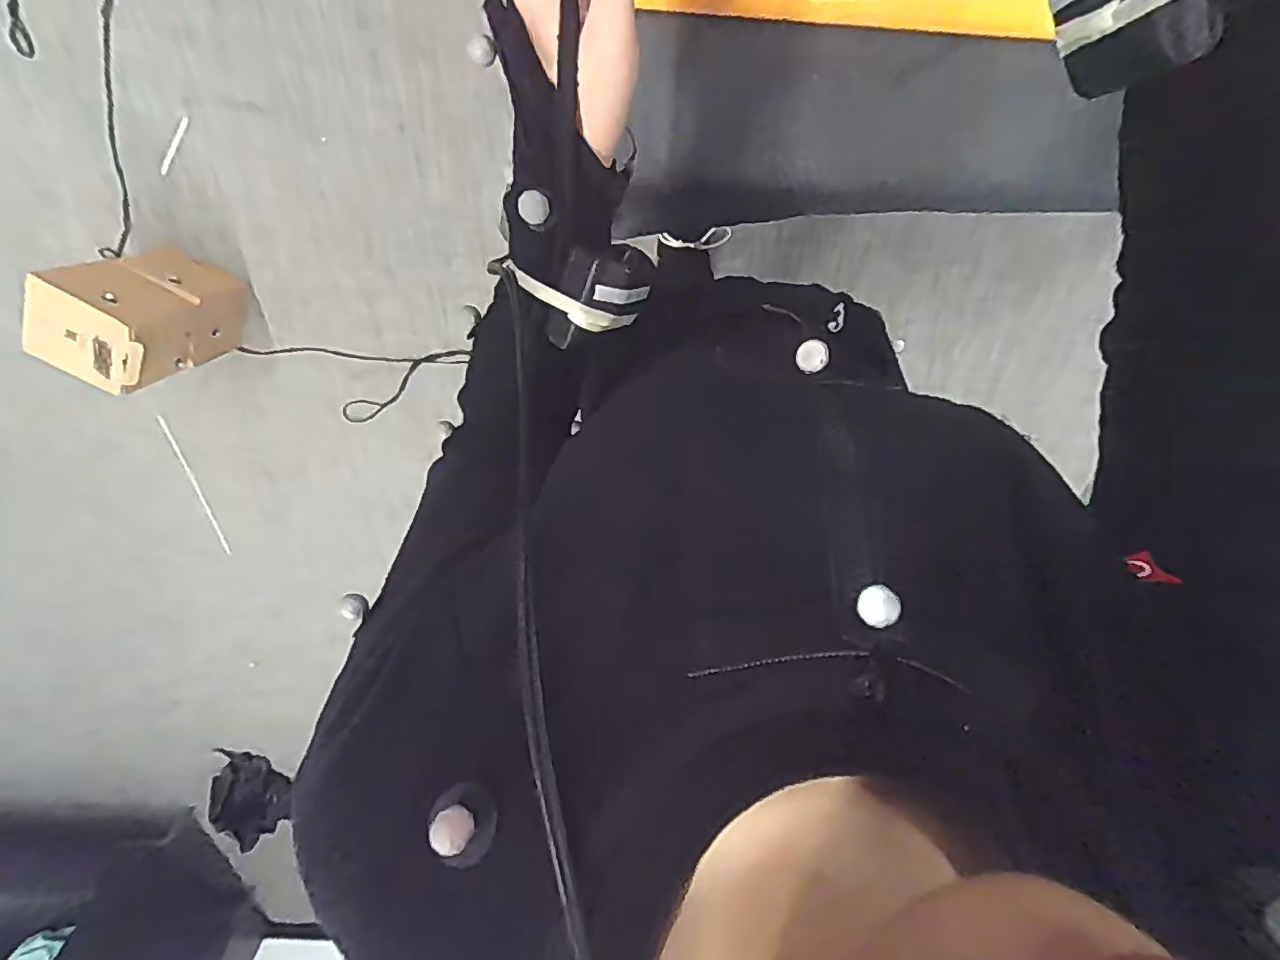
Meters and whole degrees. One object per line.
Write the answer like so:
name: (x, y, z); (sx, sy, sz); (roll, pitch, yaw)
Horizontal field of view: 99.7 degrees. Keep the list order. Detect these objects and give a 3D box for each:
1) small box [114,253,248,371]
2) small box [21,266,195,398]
small box: (-1.017, -0.379, 1.205); (0.168, 0.176, 0.179); (26, 118, -13)
small box: (-1.032, -0.297, 1.062); (0.179, 0.176, 0.168); (31, 116, -14)
